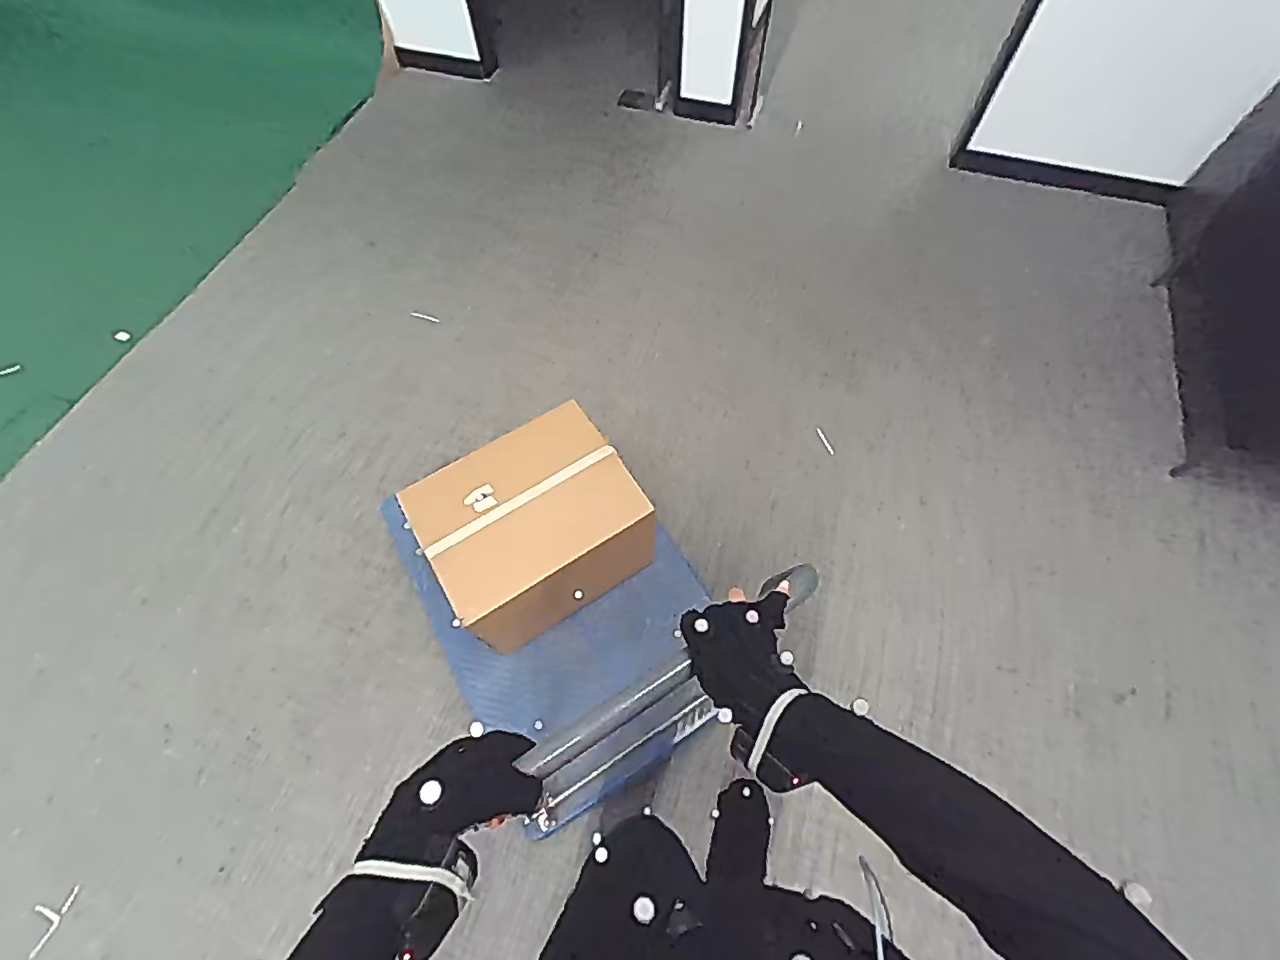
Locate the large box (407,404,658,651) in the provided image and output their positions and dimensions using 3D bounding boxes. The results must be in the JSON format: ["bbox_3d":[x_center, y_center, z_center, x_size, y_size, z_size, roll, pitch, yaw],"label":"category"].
[{"bbox_3d":[-0.208,0.112,1.182,0.408,0.320,0.320,-31,67,-13],"label":"large box"}]
